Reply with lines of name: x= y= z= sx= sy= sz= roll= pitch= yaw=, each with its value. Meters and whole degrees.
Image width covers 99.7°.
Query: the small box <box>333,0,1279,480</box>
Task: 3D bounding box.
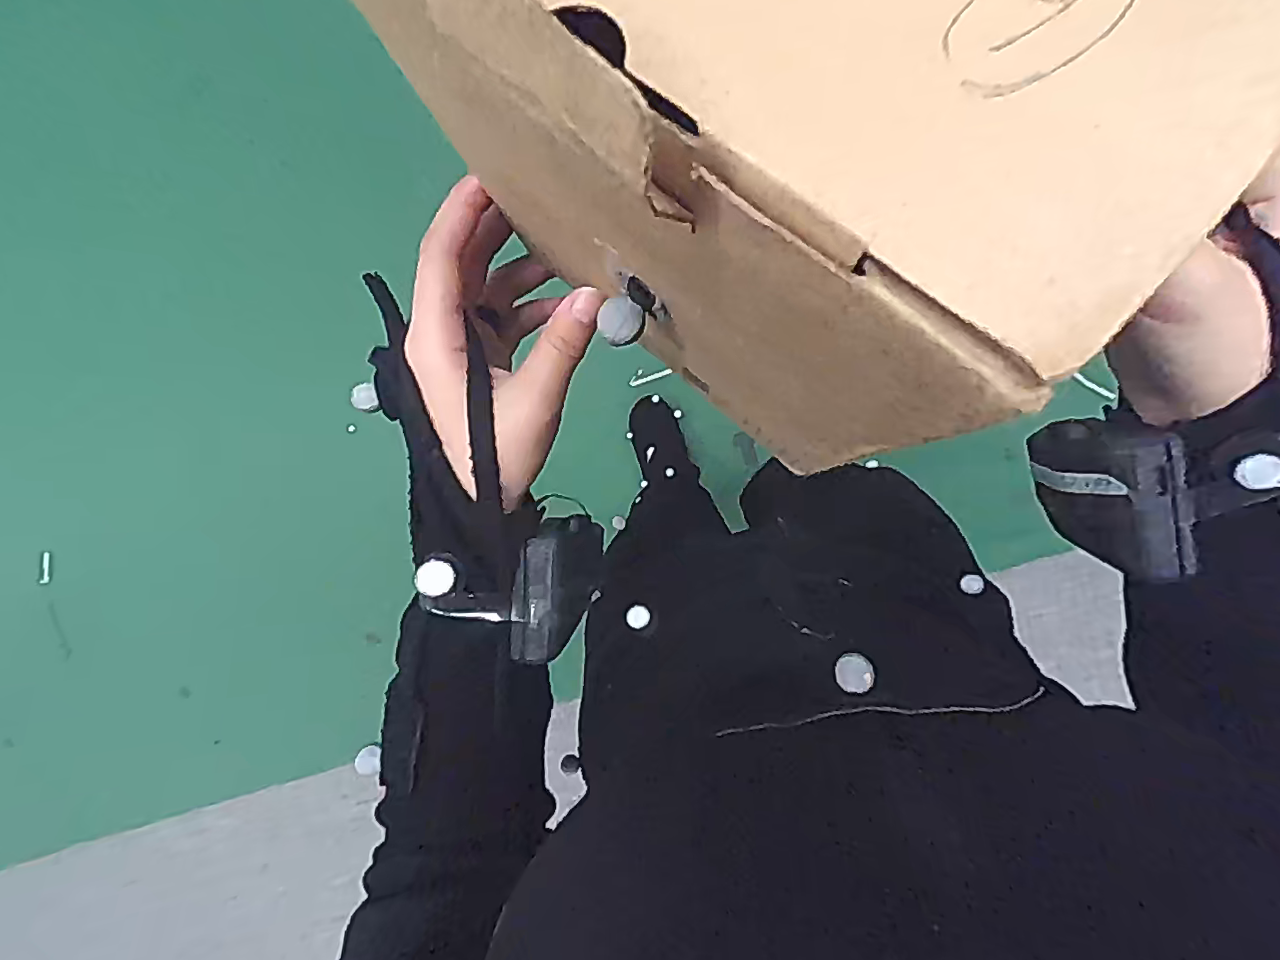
small box: x=0.058 y=-0.114 z=0.170 sx=0.168 sy=0.176 sz=0.179 roll=41 pitch=92 yaw=7
